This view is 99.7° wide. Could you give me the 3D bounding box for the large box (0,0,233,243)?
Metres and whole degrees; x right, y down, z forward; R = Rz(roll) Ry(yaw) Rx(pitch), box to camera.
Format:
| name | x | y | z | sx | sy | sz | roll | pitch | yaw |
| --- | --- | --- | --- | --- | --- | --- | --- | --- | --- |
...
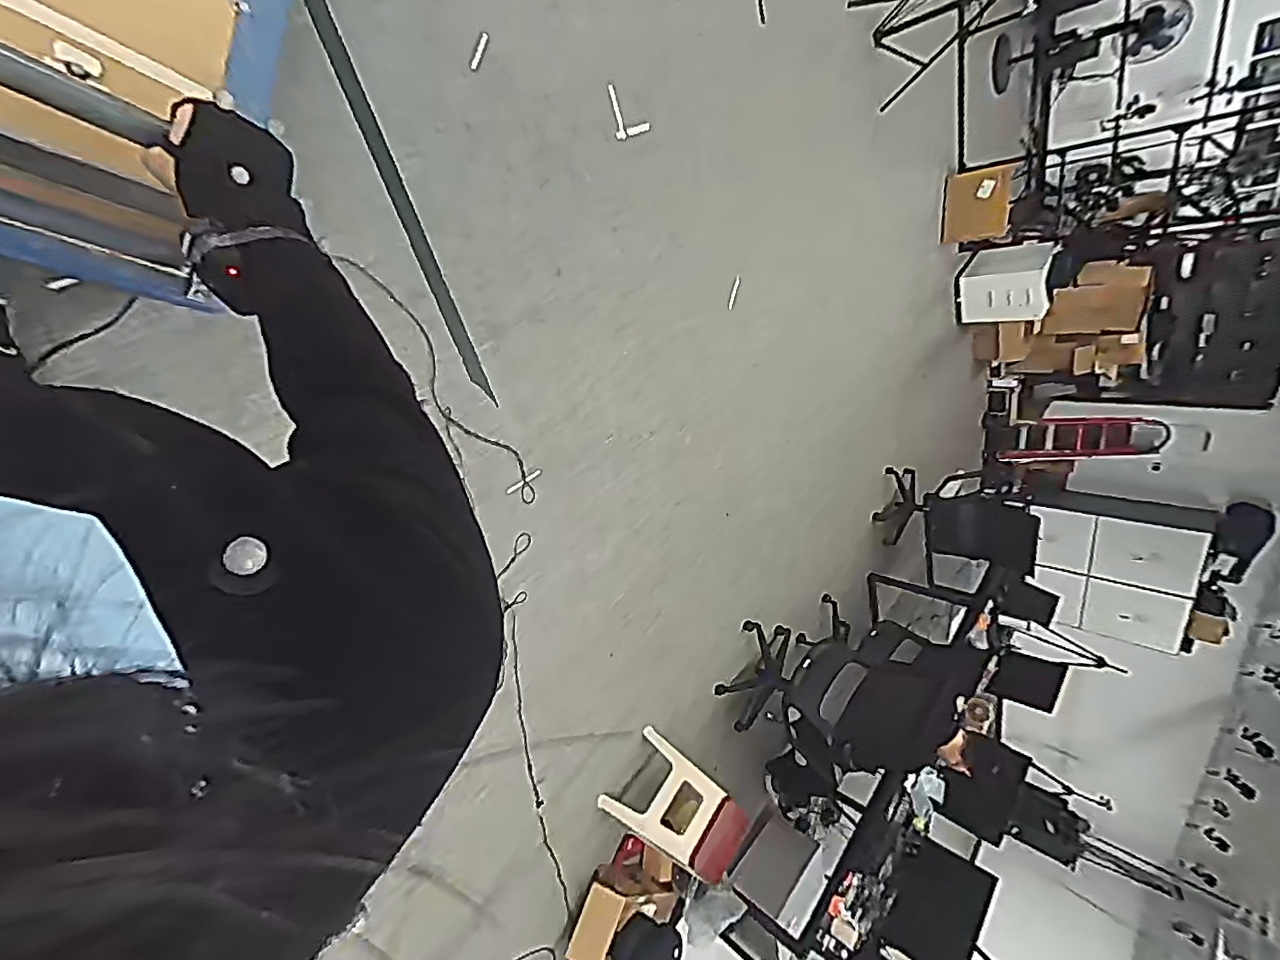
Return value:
| name | x | y | z | sx | sy | sz | roll | pitch | yaw |
| --- | --- | --- | --- | --- | --- | --- | --- | --- | --- |
| large box | -0.846 | -0.571 | 0.722 | 0.408 | 0.320 | 0.320 | 12 | 91 | -48 |
